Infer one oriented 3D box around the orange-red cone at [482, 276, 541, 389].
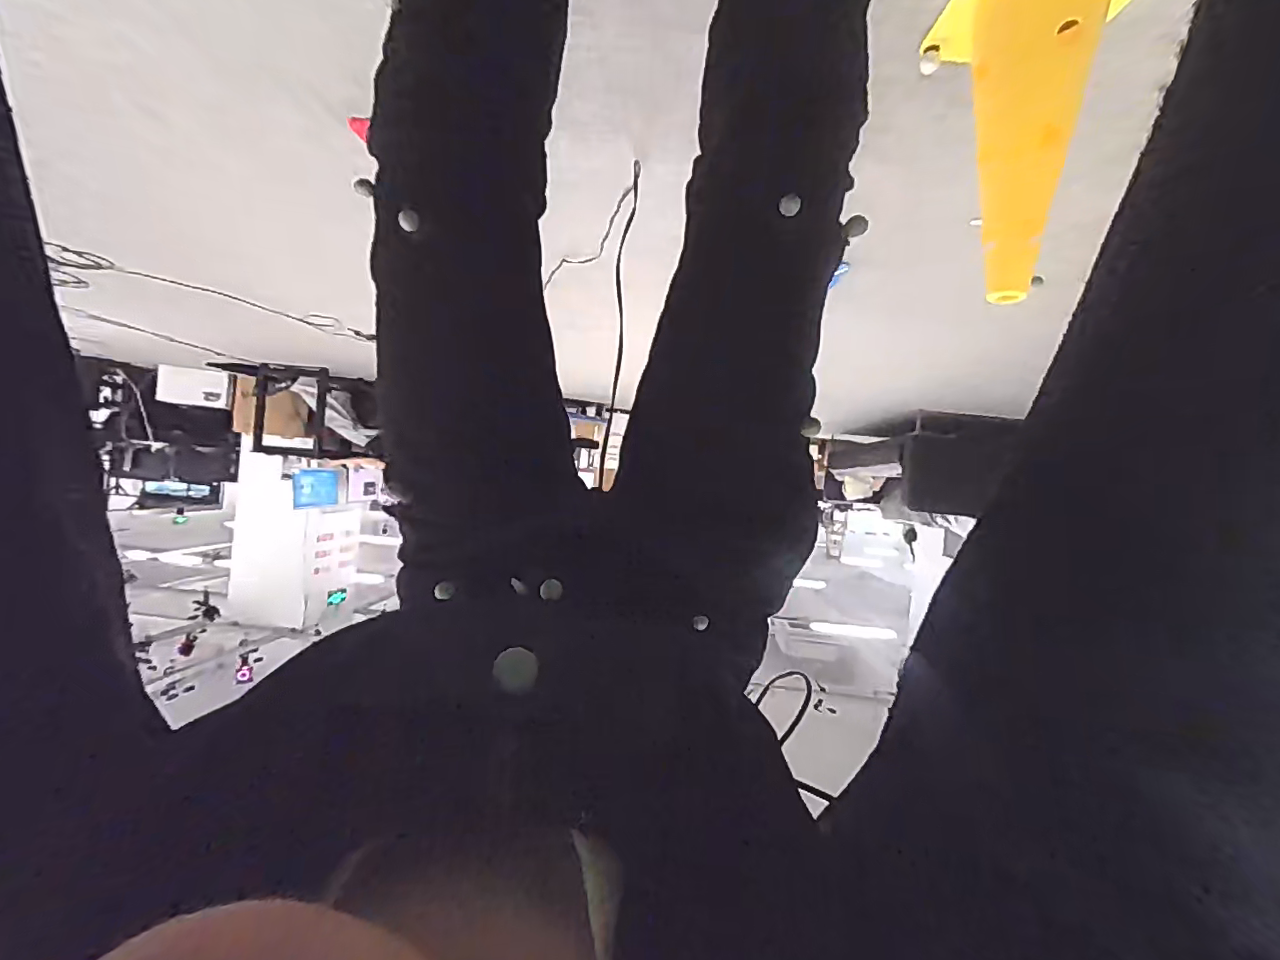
[{"bbox_3d":[-0.476,-0.502,1.909,0.199,0.360,0.198,7,179,-17],"label":"orange-red cone"}]
